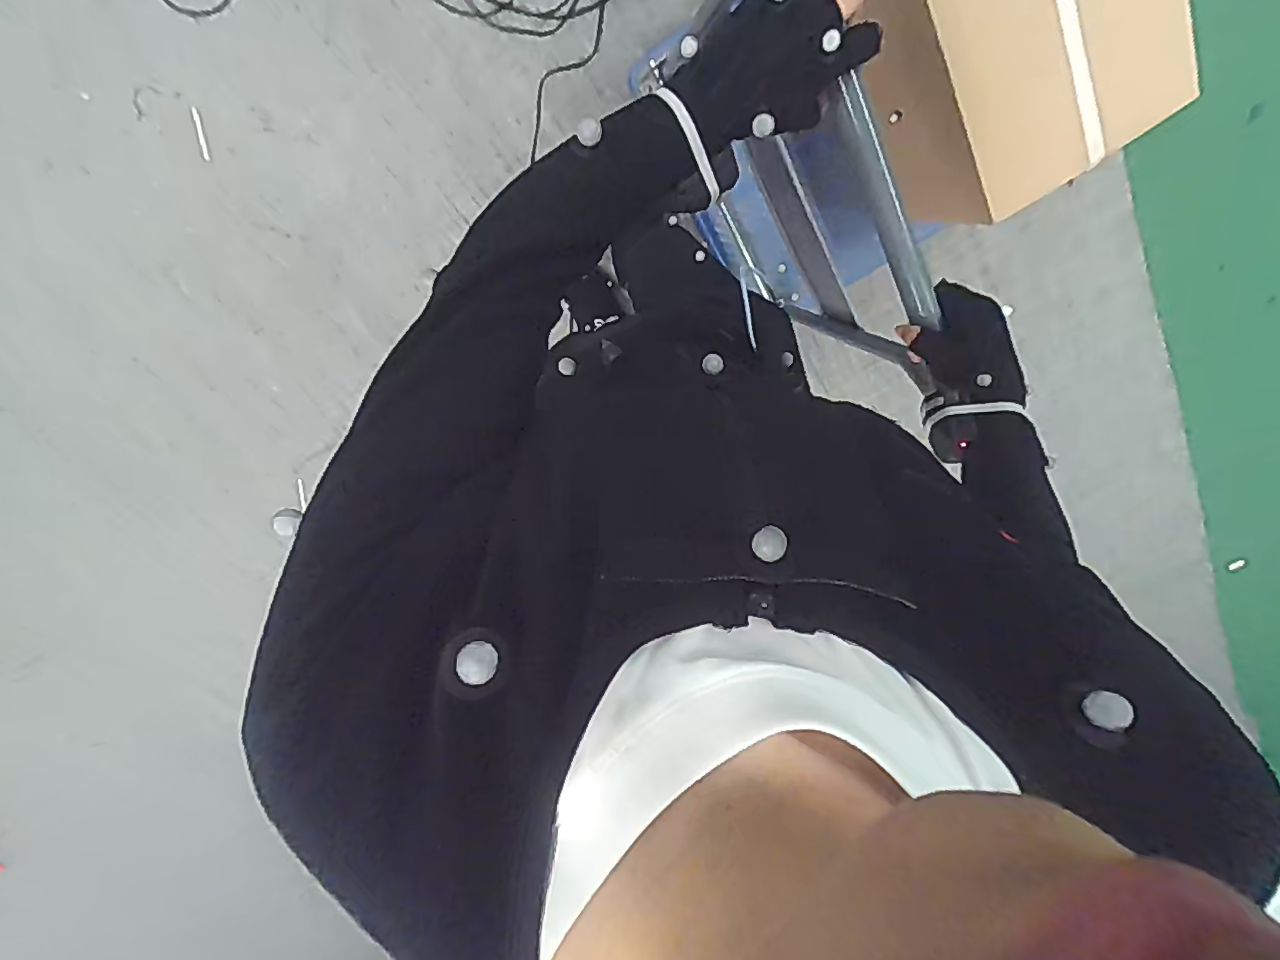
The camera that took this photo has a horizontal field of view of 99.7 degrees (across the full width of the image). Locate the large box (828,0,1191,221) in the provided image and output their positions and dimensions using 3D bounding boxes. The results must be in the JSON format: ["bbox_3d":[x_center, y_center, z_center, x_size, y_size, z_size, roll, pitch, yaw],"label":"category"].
[{"bbox_3d":[0.573,-0.701,0.885,0.320,0.320,0.408,-31,114,12],"label":"large box"}]
